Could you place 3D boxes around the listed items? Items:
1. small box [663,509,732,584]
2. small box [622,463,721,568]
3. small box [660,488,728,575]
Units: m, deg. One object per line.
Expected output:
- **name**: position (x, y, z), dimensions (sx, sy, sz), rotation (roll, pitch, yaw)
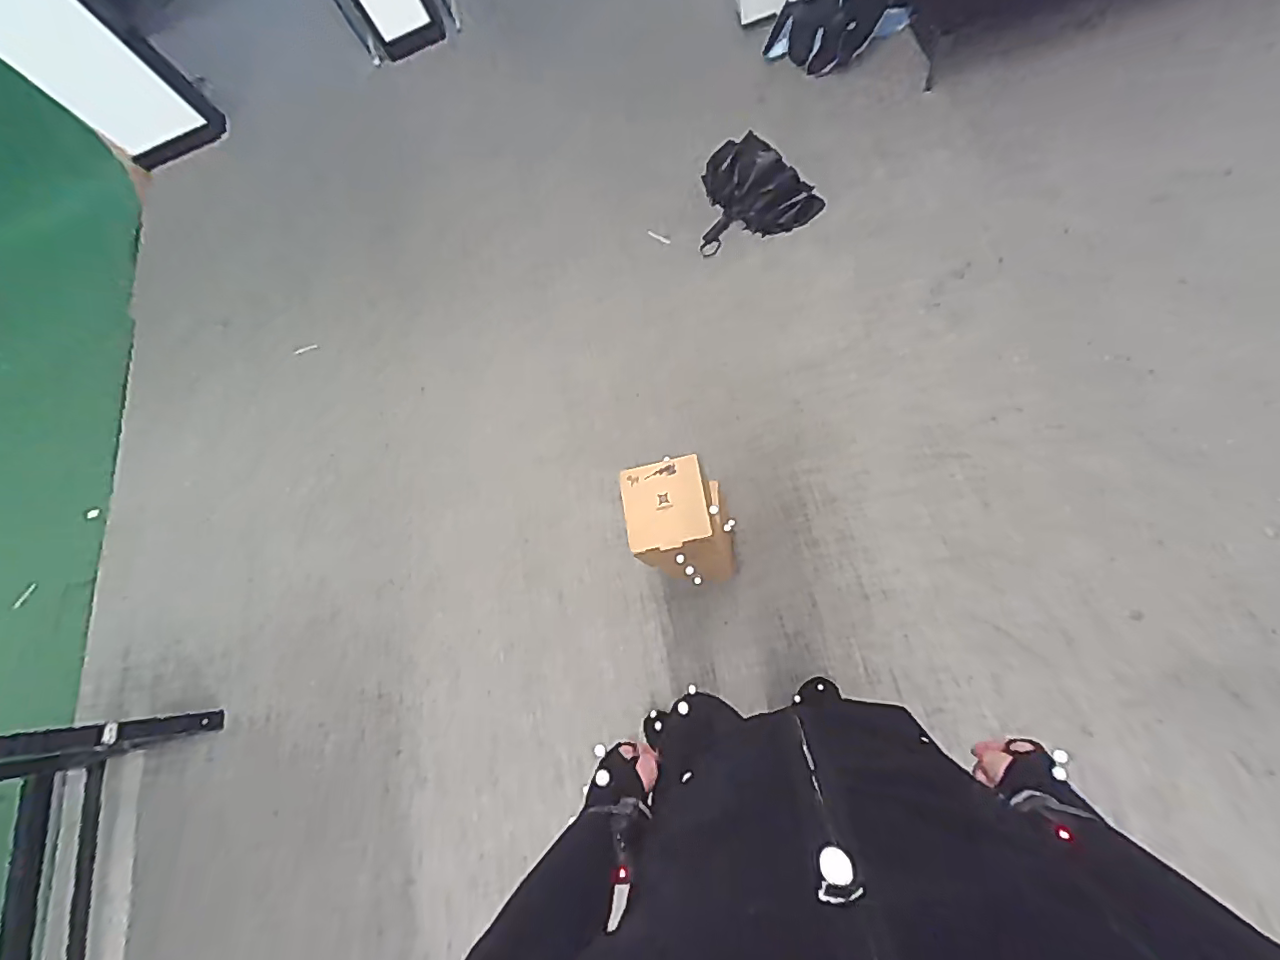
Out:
- **small box**: position (0.156, 0.178, 1.443), dimensions (0.168, 0.176, 0.179), rotation (-5, 72, 13)
- **small box**: position (0.072, 0.084, 1.142), dimensions (0.168, 0.176, 0.179), rotation (-12, 70, 11)
- **small box**: position (0.119, 0.128, 1.291), dimensions (0.168, 0.176, 0.179), rotation (-3, 72, 14)
